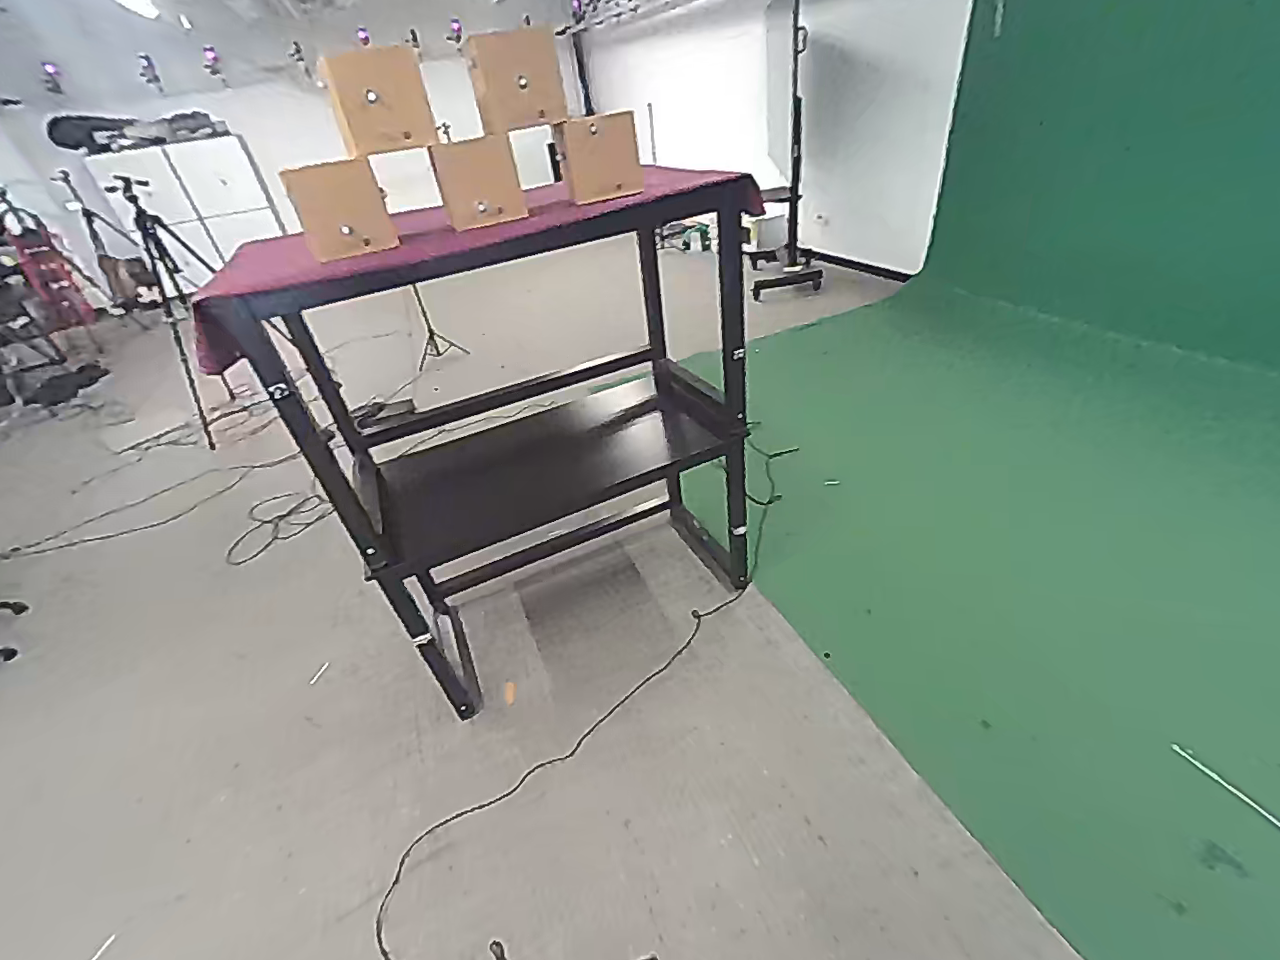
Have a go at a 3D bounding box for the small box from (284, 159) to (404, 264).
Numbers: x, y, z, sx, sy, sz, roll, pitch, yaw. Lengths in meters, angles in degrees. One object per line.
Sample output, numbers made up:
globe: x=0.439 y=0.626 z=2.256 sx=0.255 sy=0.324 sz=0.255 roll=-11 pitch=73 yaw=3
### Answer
small box: x=-0.614 y=-0.565 z=1.137 sx=0.168 sy=0.176 sz=0.179 roll=-21 pitch=37 yaw=-17

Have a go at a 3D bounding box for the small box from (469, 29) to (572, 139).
small box: x=-0.259 y=-0.854 z=1.180 sx=0.168 sy=0.176 sz=0.179 roll=-19 pitch=35 yaw=-13

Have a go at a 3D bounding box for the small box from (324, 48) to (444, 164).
small box: x=-0.517 y=-0.753 z=1.100 sx=0.168 sy=0.176 sz=0.179 roll=-23 pitch=36 yaw=-20

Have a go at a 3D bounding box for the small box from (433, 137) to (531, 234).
small box: x=-0.360 y=-0.671 z=1.233 sx=0.168 sy=0.176 sz=0.179 roll=-20 pitch=36 yaw=-13

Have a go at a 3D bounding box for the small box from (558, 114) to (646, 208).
small box: x=-0.092 y=-0.768 z=1.307 sx=0.168 sy=0.176 sz=0.179 roll=-17 pitch=34 yaw=-8
